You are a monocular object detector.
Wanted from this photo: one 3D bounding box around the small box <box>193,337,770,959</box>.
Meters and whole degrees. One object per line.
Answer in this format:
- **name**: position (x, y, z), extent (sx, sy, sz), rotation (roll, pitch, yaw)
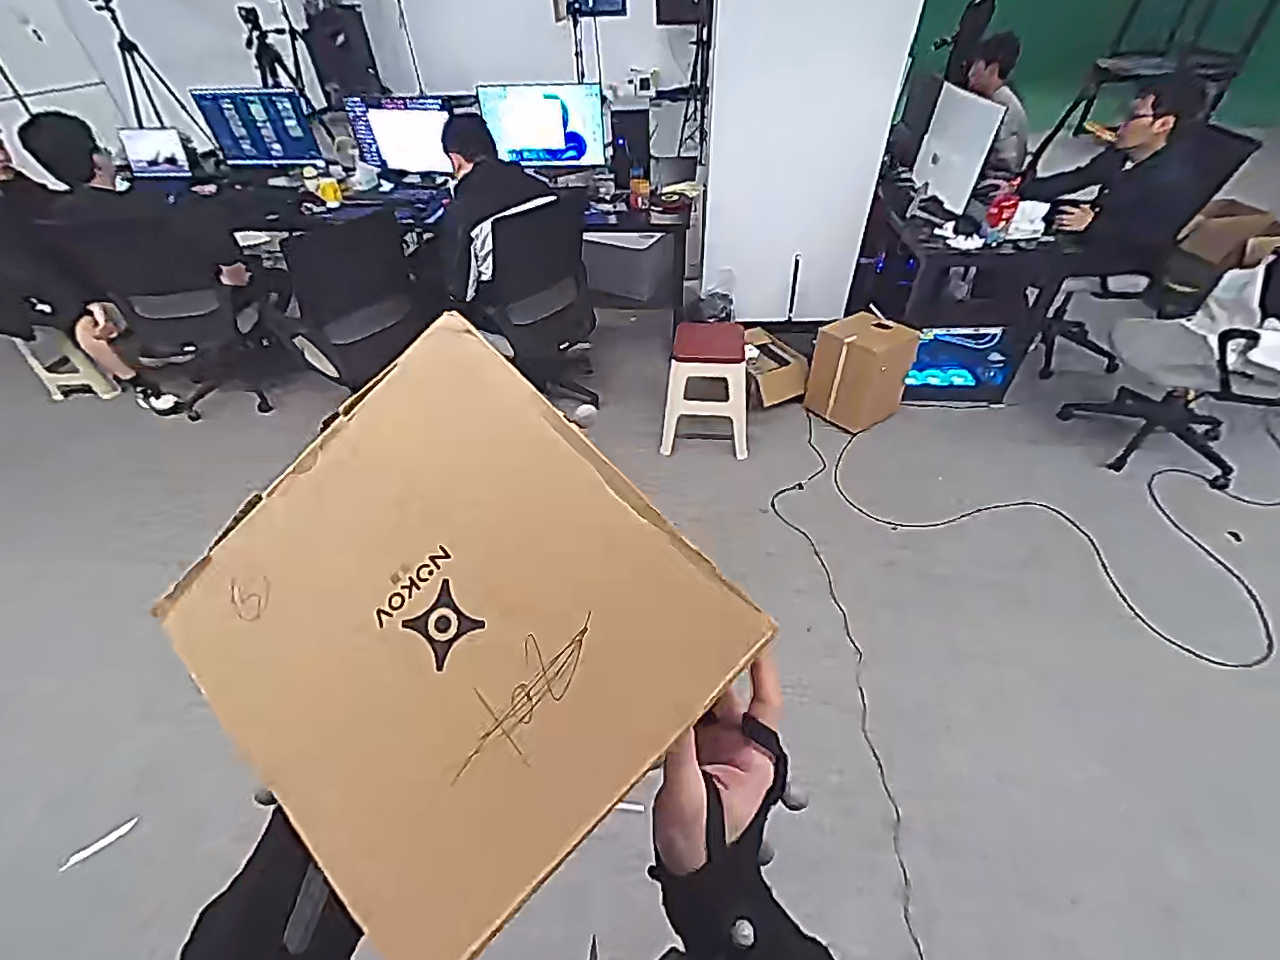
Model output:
- **small box**: position (-0.058, 0.067, 0.283), extent (0.179, 0.176, 0.168), rotation (43, 88, 14)
